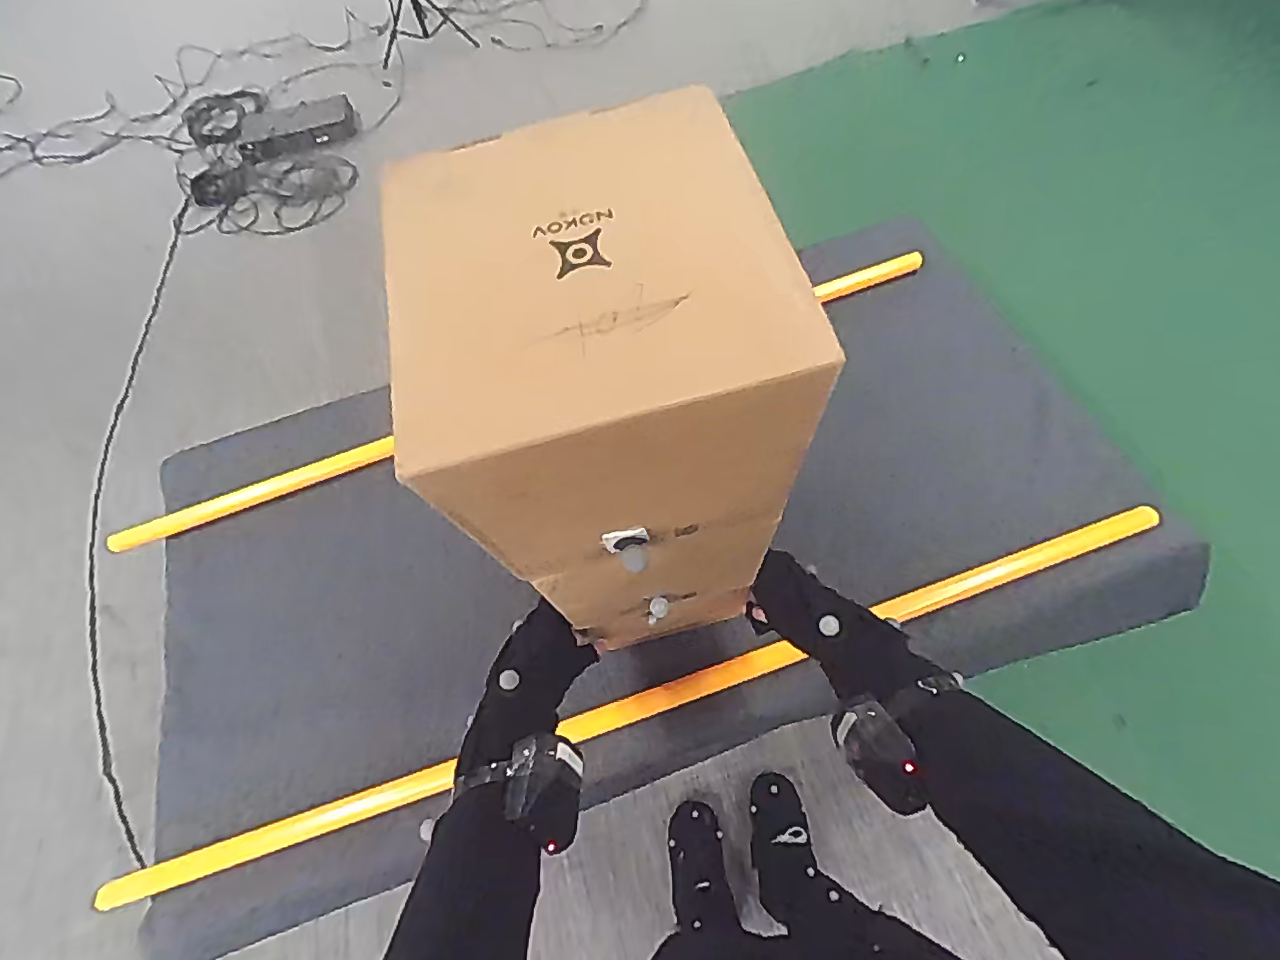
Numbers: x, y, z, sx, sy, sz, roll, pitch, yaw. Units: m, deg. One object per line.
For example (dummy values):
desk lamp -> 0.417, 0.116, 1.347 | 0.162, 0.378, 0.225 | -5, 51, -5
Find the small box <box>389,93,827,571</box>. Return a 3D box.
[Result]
small box -> -0.020, -0.067, 0.309 | 0.168, 0.176, 0.179 | -15, 66, 0

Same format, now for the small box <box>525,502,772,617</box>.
small box -> -0.006, -0.001, 0.456 | 0.168, 0.176, 0.179 | -14, 66, -1

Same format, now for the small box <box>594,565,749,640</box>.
small box -> 0.011, 0.063, 0.607 | 0.168, 0.176, 0.179 | -15, 65, -1
